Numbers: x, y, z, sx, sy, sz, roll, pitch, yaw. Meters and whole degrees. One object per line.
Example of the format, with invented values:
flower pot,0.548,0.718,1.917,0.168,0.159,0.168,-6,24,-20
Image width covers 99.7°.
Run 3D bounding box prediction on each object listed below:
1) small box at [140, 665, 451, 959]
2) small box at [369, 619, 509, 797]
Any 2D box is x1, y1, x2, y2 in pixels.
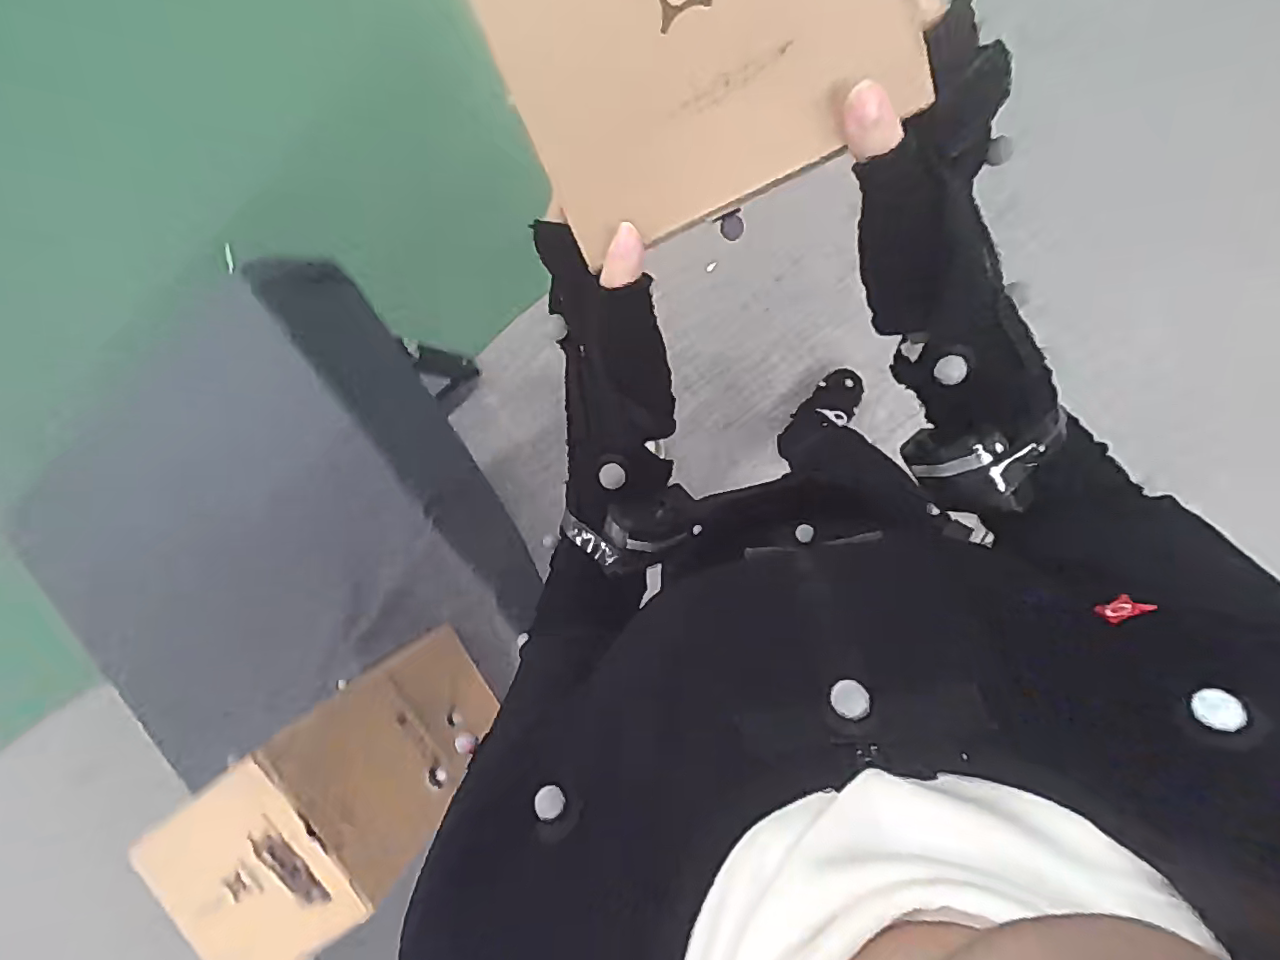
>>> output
small box,-0.320,0.323,0.546,0.179,0.176,0.168,-41,88,9
small box,-0.305,0.317,0.713,0.168,0.176,0.179,-35,88,12
